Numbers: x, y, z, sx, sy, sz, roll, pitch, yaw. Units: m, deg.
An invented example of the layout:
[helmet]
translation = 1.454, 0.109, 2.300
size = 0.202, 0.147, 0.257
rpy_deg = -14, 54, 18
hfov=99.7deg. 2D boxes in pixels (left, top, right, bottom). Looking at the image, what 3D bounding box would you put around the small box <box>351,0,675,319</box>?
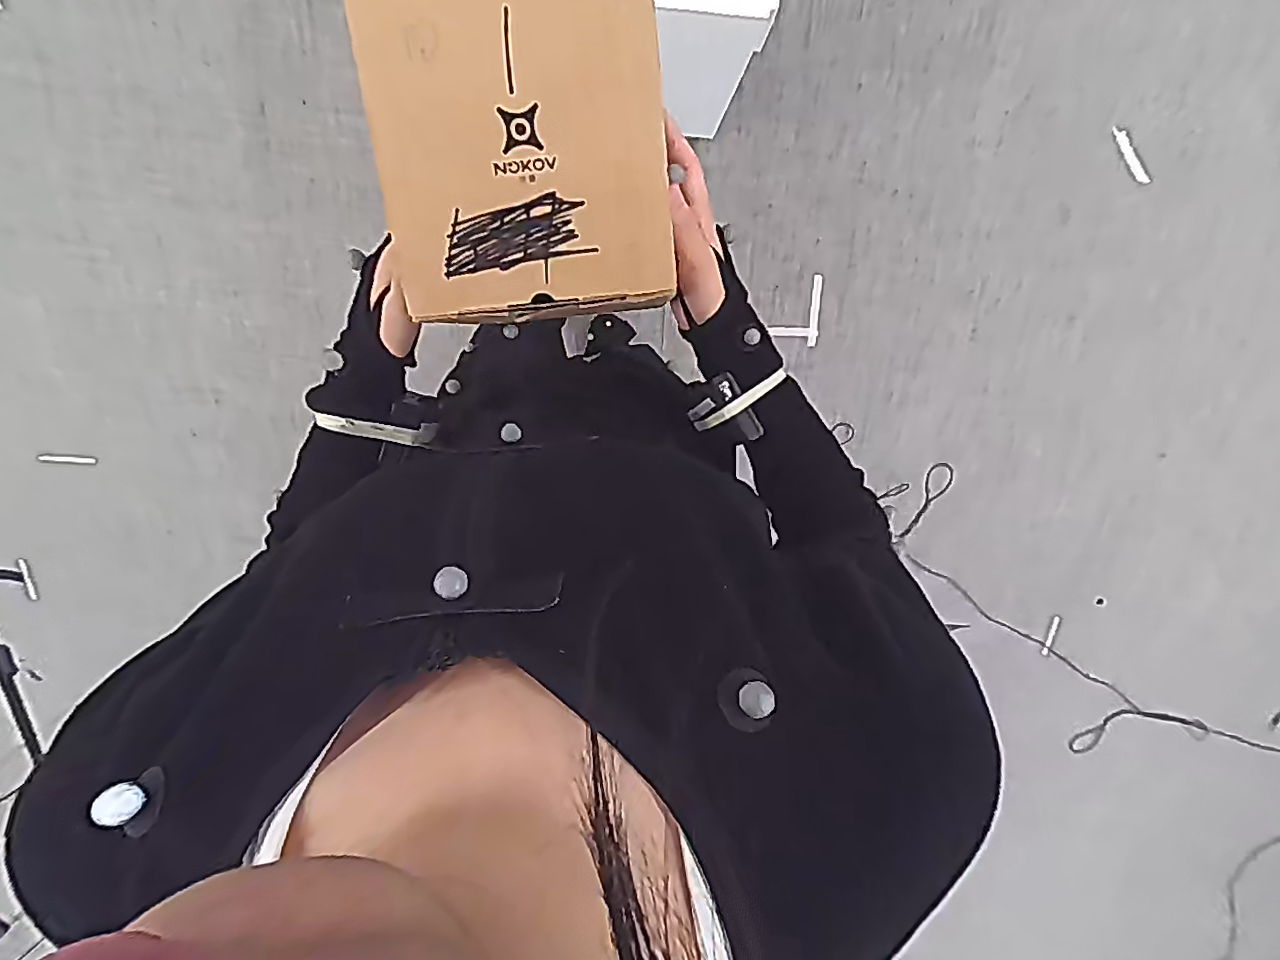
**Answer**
[small box]
translation = -0.066, -0.210, 0.381
size = 0.168, 0.176, 0.179
rpy_deg = -6, 105, 0
